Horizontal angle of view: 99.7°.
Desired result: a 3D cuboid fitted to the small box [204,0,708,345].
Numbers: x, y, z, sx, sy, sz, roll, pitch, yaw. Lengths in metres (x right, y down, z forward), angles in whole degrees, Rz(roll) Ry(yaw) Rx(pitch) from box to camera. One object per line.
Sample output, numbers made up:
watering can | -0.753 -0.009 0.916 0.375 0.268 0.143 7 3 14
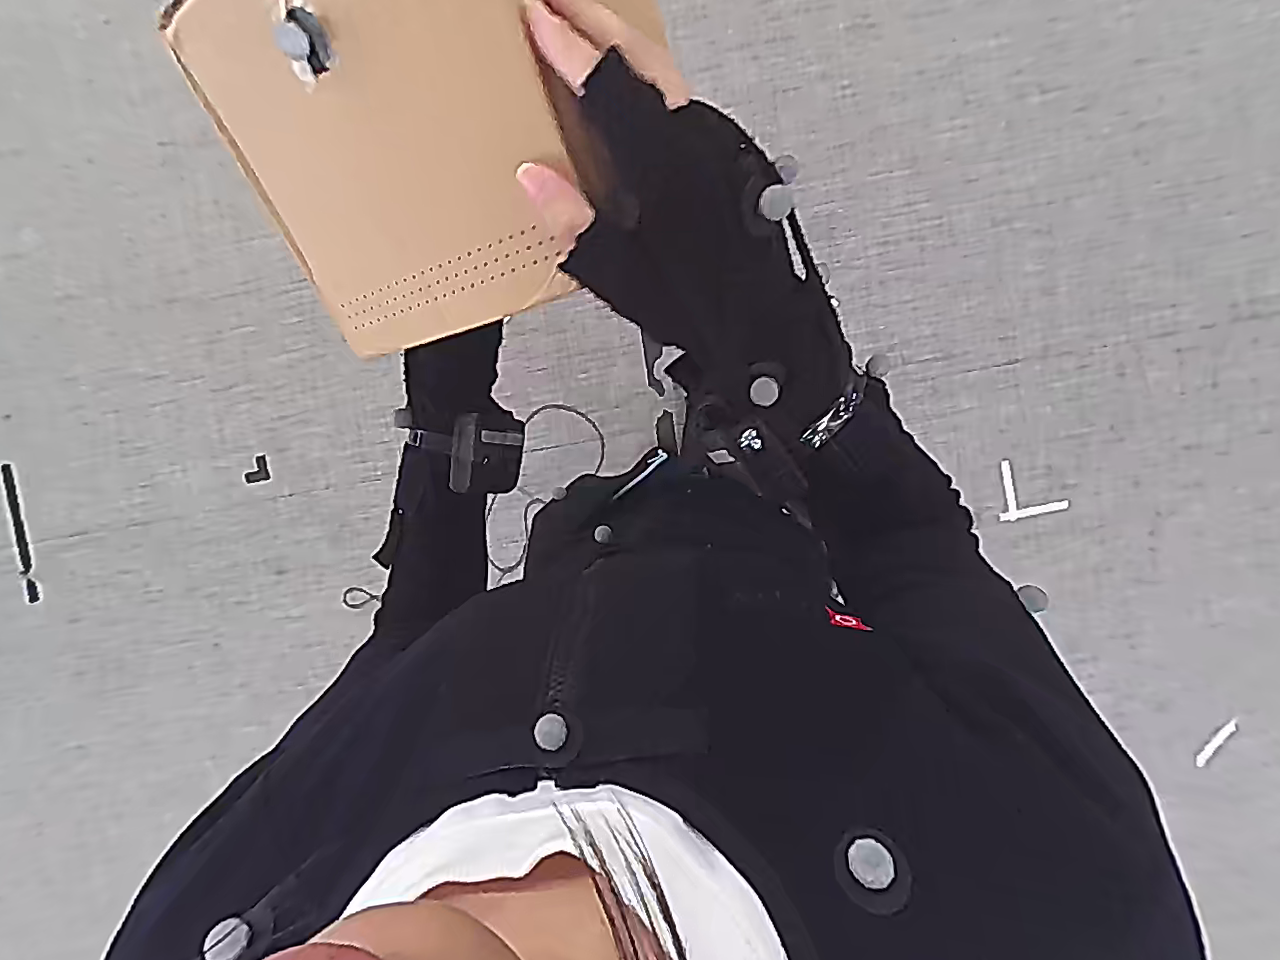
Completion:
small box | -0.083 -0.195 0.315 0.179 0.168 0.176 -6 123 31
